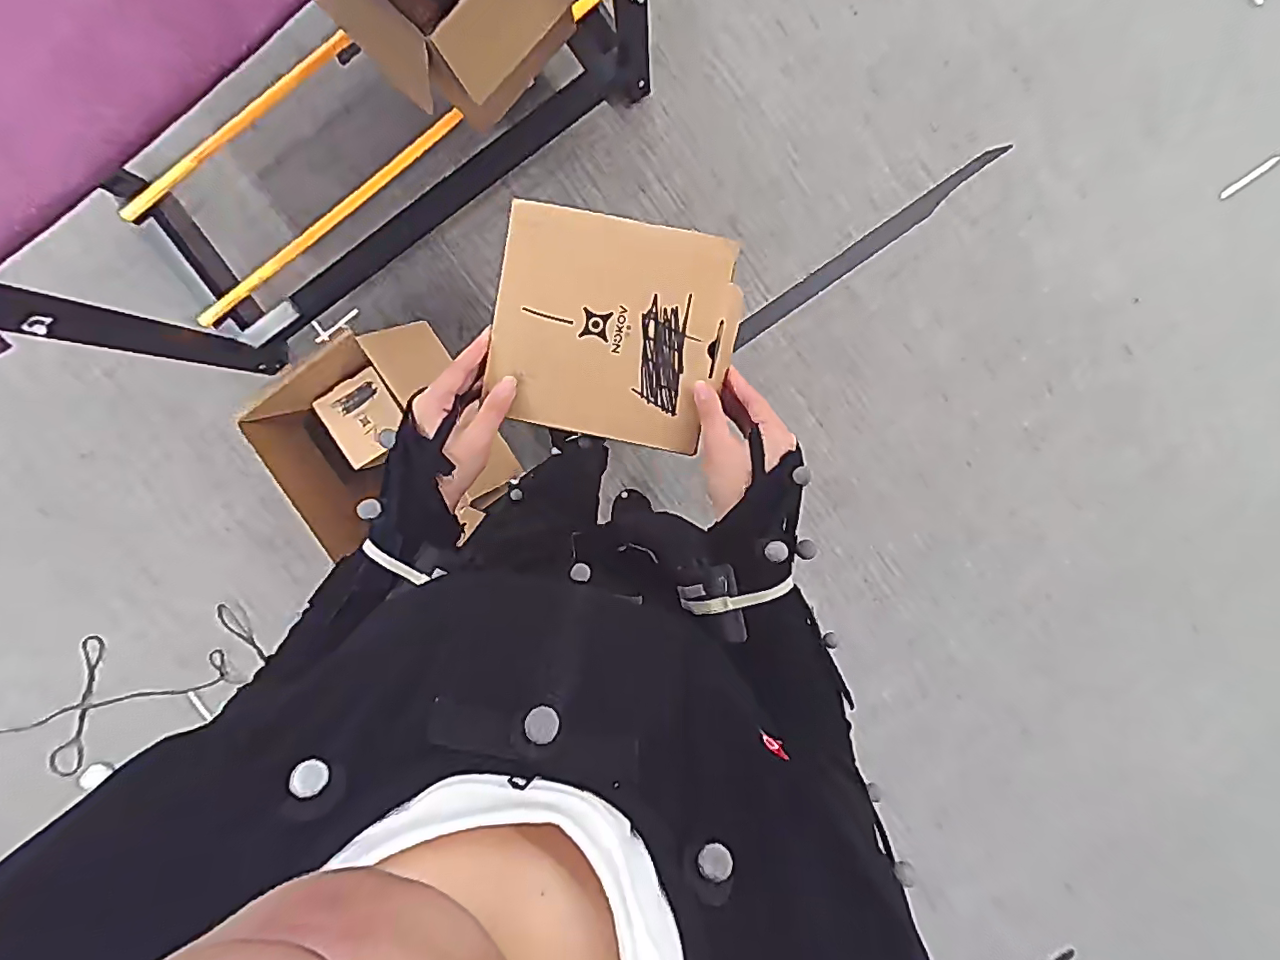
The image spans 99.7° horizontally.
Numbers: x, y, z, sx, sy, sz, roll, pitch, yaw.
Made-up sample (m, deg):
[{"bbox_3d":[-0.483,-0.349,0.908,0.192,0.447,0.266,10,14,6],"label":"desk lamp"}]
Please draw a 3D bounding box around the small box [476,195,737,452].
[{"bbox_3d":[-0.025,-0.126,0.490,0.179,0.176,0.168,12,96,2],"label":"small box"}]
